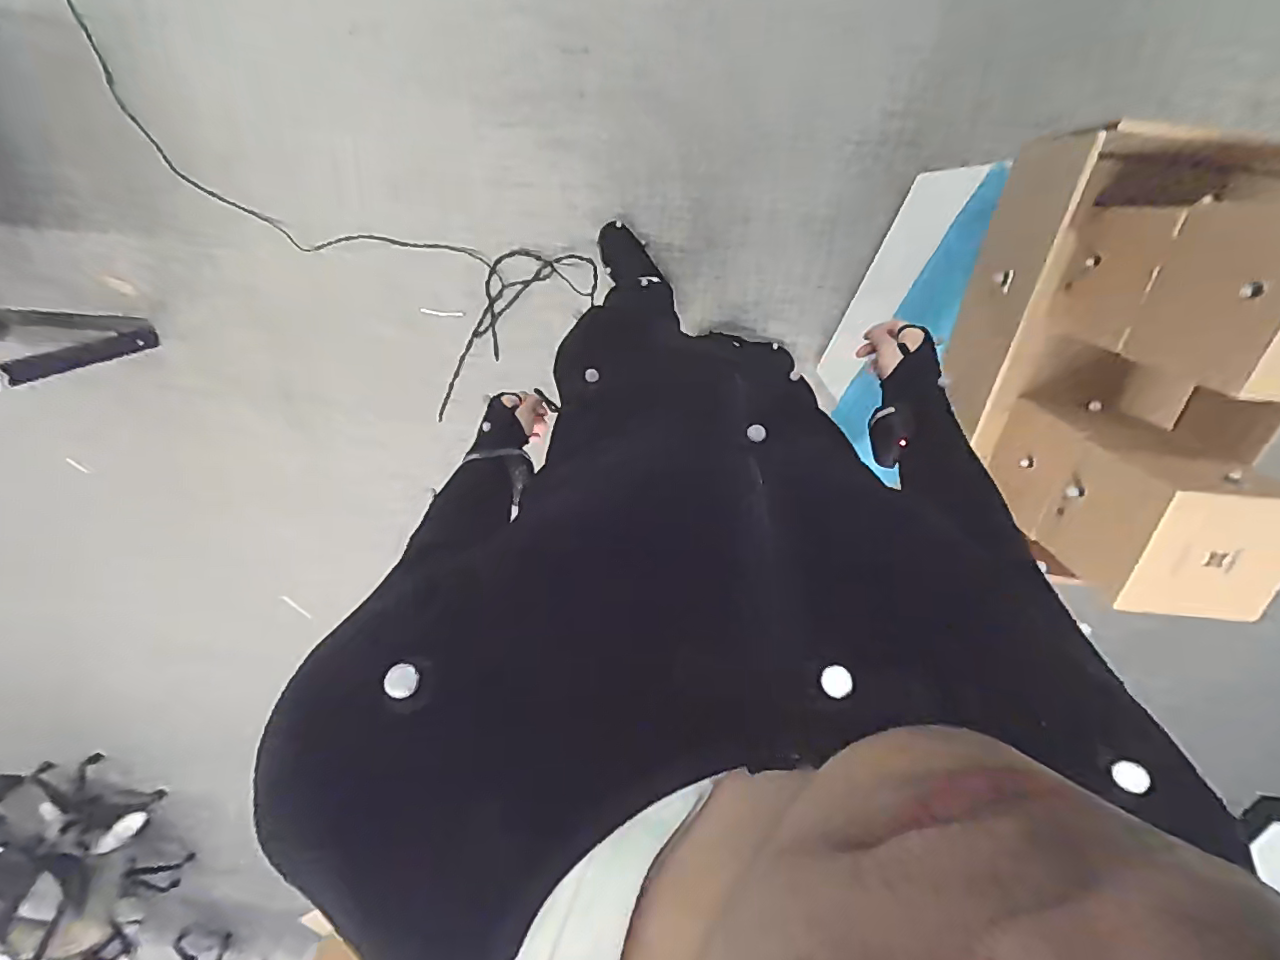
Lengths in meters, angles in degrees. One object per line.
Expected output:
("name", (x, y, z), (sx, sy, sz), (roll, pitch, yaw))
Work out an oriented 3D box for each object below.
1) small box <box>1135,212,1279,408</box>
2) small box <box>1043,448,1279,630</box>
("small box", (0.692, -0.180, 0.569), (0.168, 0.176, 0.179), (6, 118, 3))
("small box", (0.679, 0.067, 0.693), (0.179, 0.176, 0.168), (6, 115, 2))
